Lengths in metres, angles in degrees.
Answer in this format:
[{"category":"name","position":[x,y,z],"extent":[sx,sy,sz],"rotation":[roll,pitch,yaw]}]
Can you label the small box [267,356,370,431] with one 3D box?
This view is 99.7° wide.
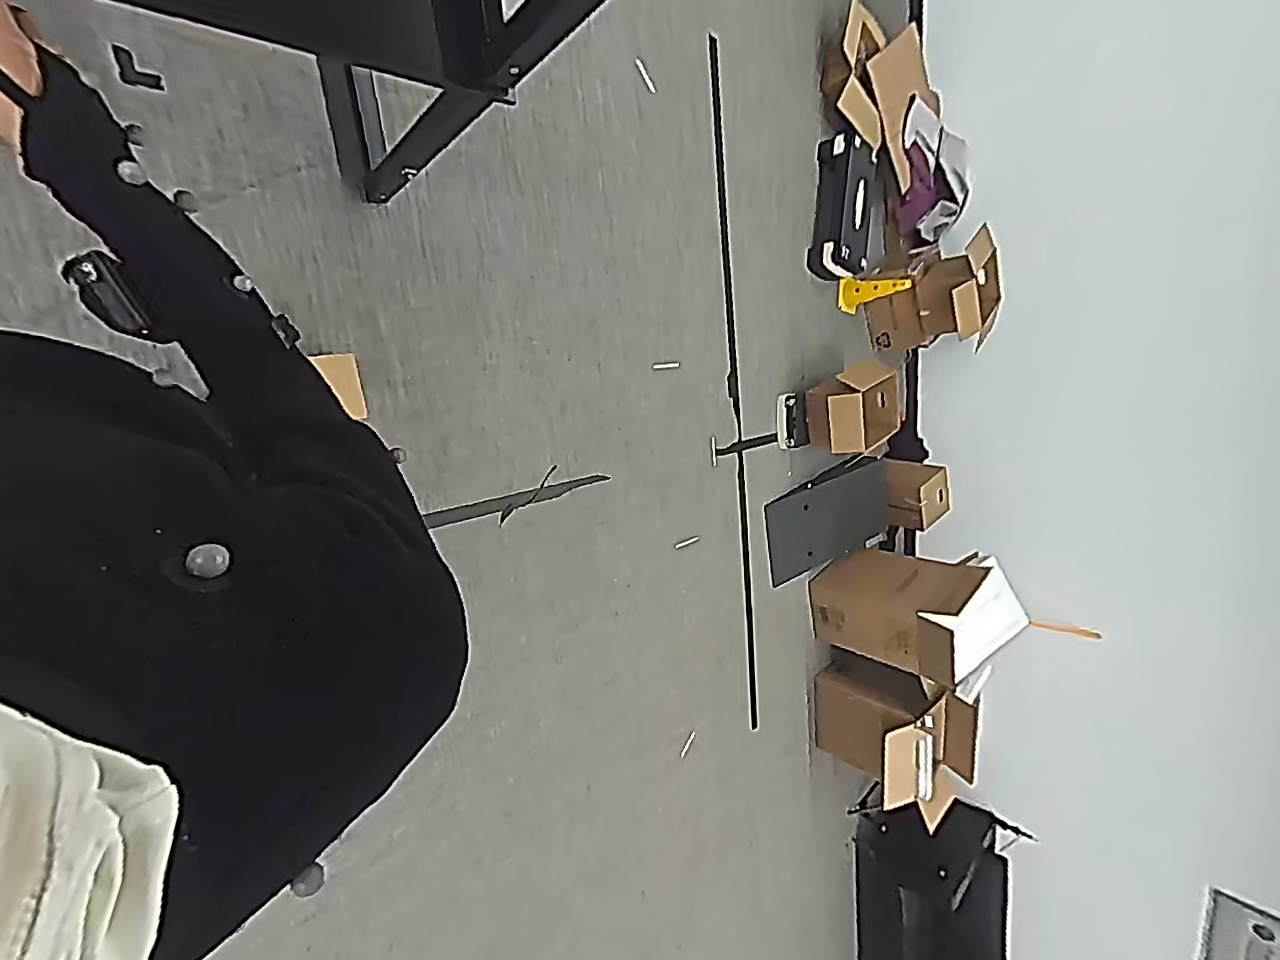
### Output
[{"category":"small box","position":[-0.814,-0.221,1.369],"extent":[0.179,0.176,0.168],"rotation":[-17,107,-38]}]
